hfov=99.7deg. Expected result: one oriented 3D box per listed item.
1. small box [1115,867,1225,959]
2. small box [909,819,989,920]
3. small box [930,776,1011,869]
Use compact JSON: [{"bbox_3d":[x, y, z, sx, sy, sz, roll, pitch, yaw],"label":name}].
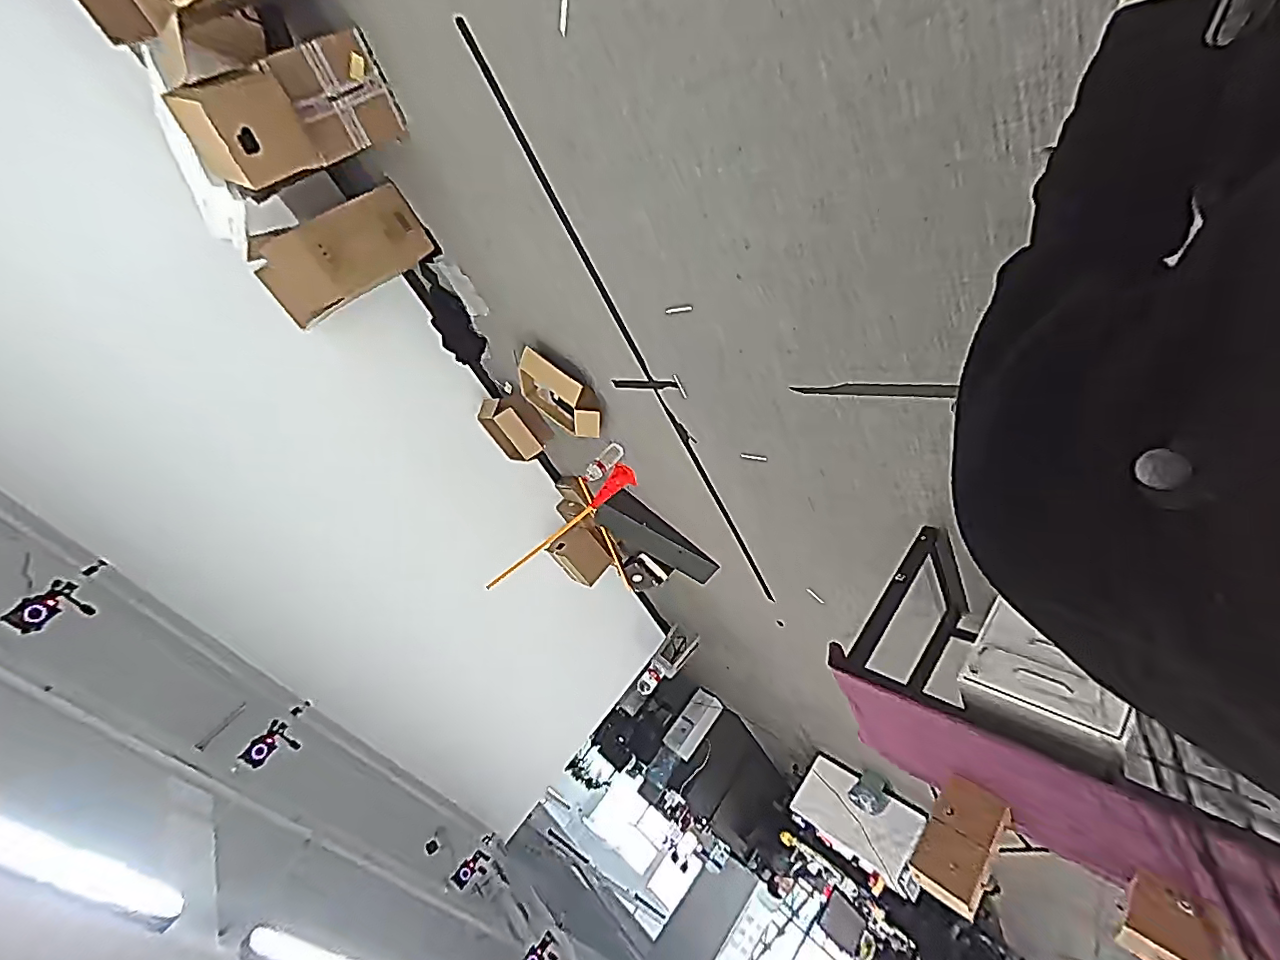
[{"bbox_3d":[1.354,1.146,1.383,0.168,0.176,0.179,16,142,45],"label":"small box"},{"bbox_3d":[0.967,1.204,1.681,0.179,0.176,0.168,16,143,45],"label":"small box"},{"bbox_3d":[1.070,1.094,1.748,0.179,0.176,0.168,15,143,47],"label":"small box"}]
